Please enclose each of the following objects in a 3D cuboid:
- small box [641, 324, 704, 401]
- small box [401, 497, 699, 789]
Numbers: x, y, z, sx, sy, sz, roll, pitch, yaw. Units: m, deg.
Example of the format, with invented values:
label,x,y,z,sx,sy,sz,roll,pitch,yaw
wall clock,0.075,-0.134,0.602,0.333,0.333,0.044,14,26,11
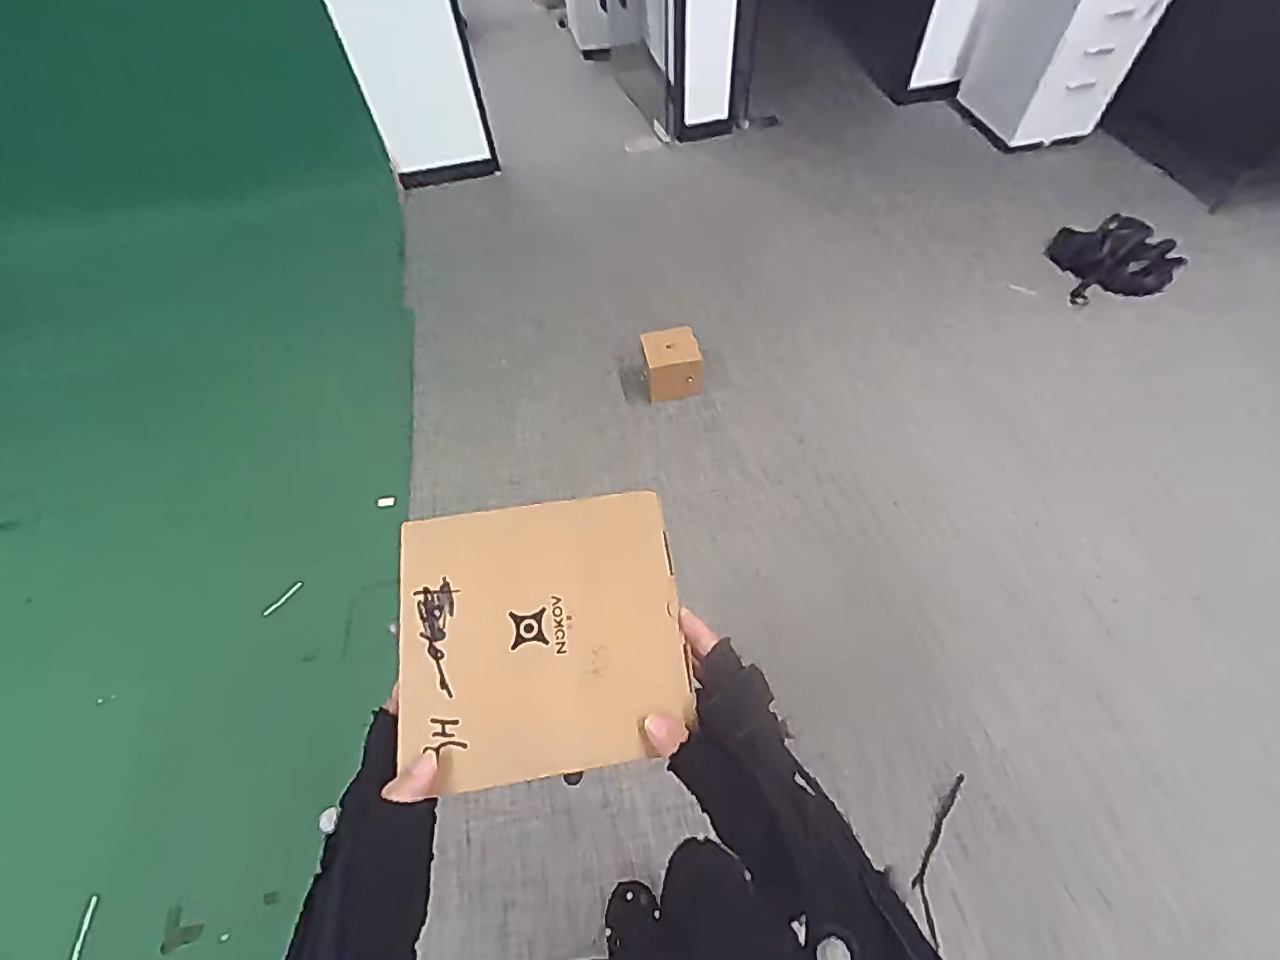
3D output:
label,x,y,z,sx,sy,sz,roll,pitch,yaw
small box,0.108,-0.391,1.817,0.179,0.176,0.168,-13,57,-2
small box,-0.065,0.125,0.418,0.179,0.176,0.168,-6,66,-6
